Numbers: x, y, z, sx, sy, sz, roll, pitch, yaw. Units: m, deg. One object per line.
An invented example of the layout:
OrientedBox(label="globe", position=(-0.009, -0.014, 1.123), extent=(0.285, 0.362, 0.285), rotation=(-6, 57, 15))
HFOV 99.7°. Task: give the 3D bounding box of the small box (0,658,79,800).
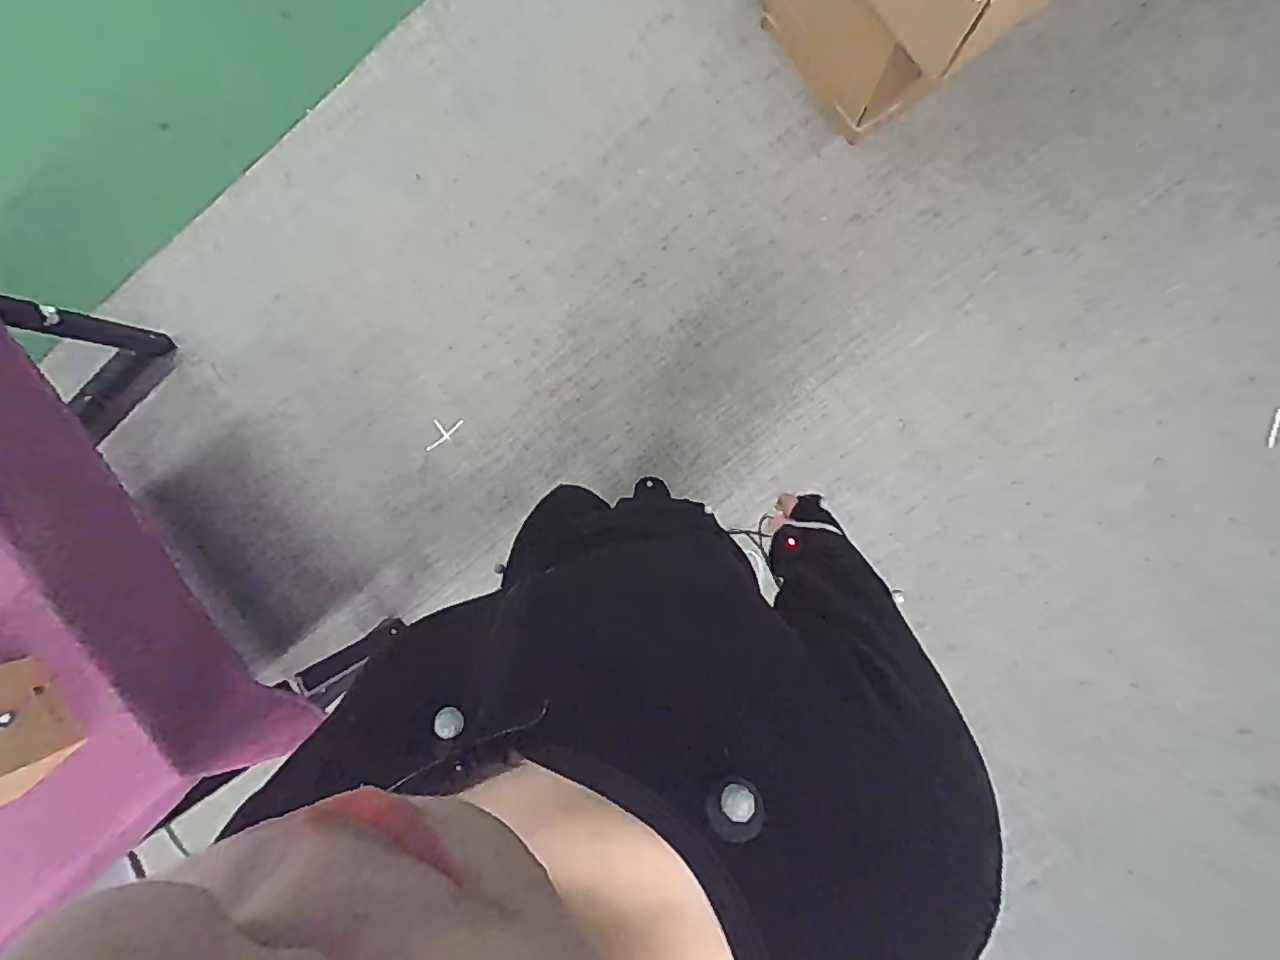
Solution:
OrientedBox(label="small box", position=(-1.005, 0.396, 0.801), extent=(0.179, 0.176, 0.168), rotation=(-38, 87, 7))
